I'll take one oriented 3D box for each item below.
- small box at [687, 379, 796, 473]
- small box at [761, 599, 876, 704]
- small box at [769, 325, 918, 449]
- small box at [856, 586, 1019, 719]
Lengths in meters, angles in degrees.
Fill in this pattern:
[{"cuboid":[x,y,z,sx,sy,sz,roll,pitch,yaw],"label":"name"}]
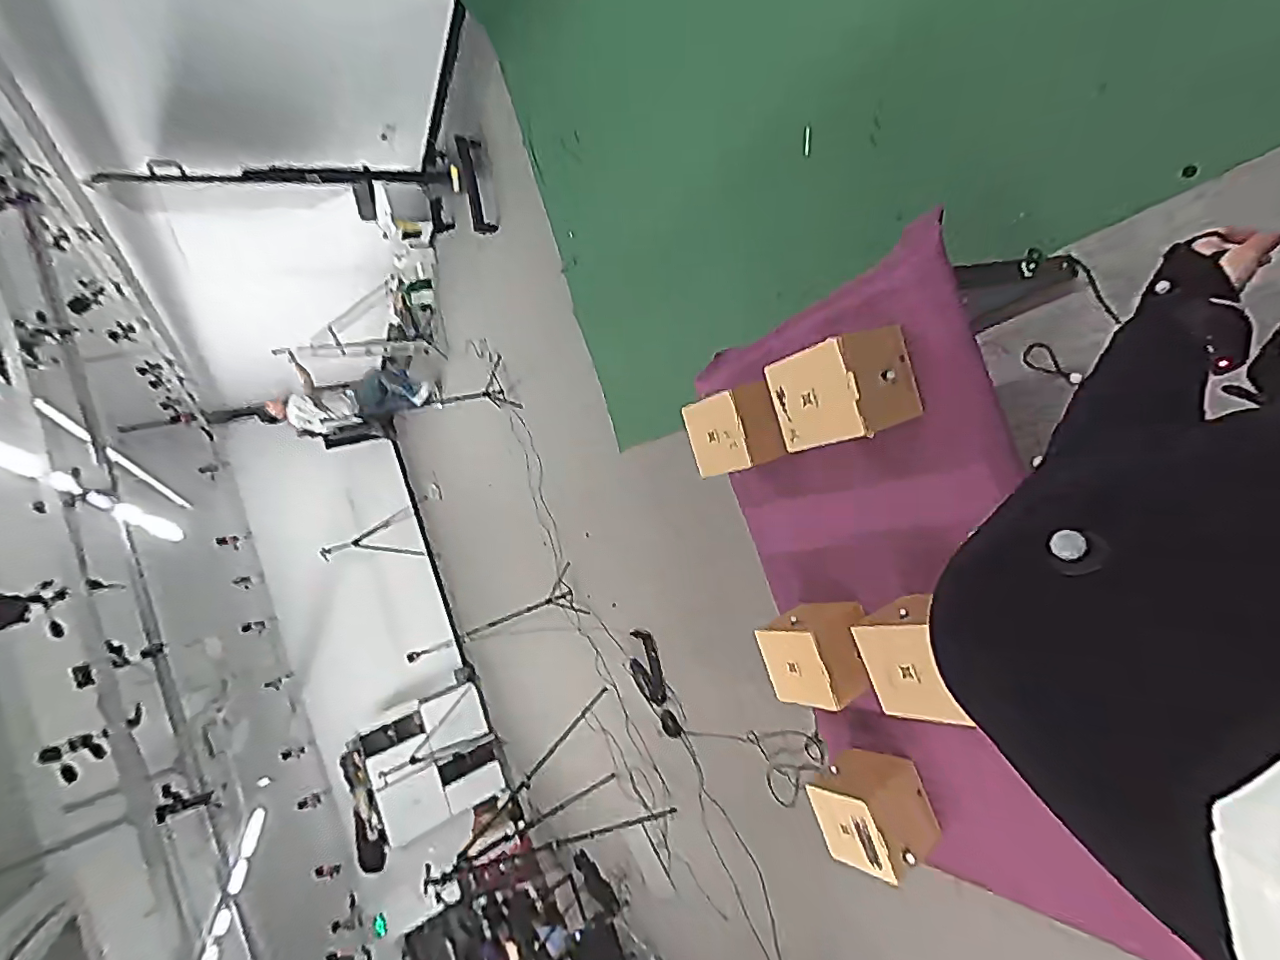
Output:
[{"cuboid":[0.238,-0.122,1.214,0.179,0.176,0.168,-14,94,59],"label":"small box"},{"cuboid":[0.407,0.371,1.198,0.179,0.176,0.168,-25,83,58],"label":"small box"},{"cuboid":[0.371,-0.167,0.976,0.179,0.176,0.168,-13,94,60],"label":"small box"},{"cuboid":[0.531,0.296,0.959,0.179,0.176,0.168,-30,79,60],"label":"small box"}]
